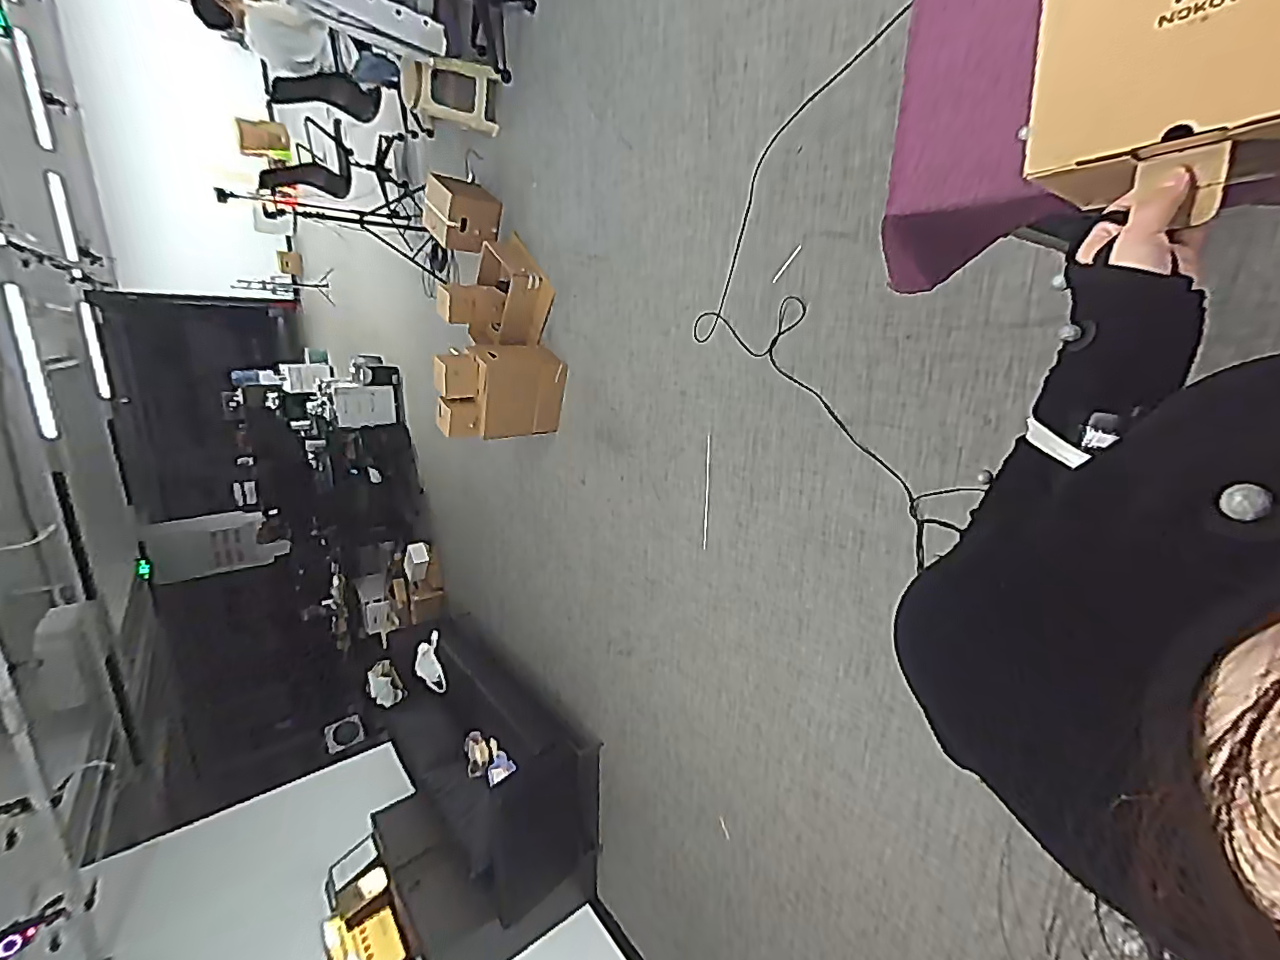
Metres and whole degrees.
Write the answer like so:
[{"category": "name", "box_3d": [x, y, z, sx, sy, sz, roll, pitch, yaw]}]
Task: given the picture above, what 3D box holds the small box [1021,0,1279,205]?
[{"category": "small box", "box_3d": [0.406, -0.319, 0.389, 0.168, 0.176, 0.179, 13, 111, 49]}]
